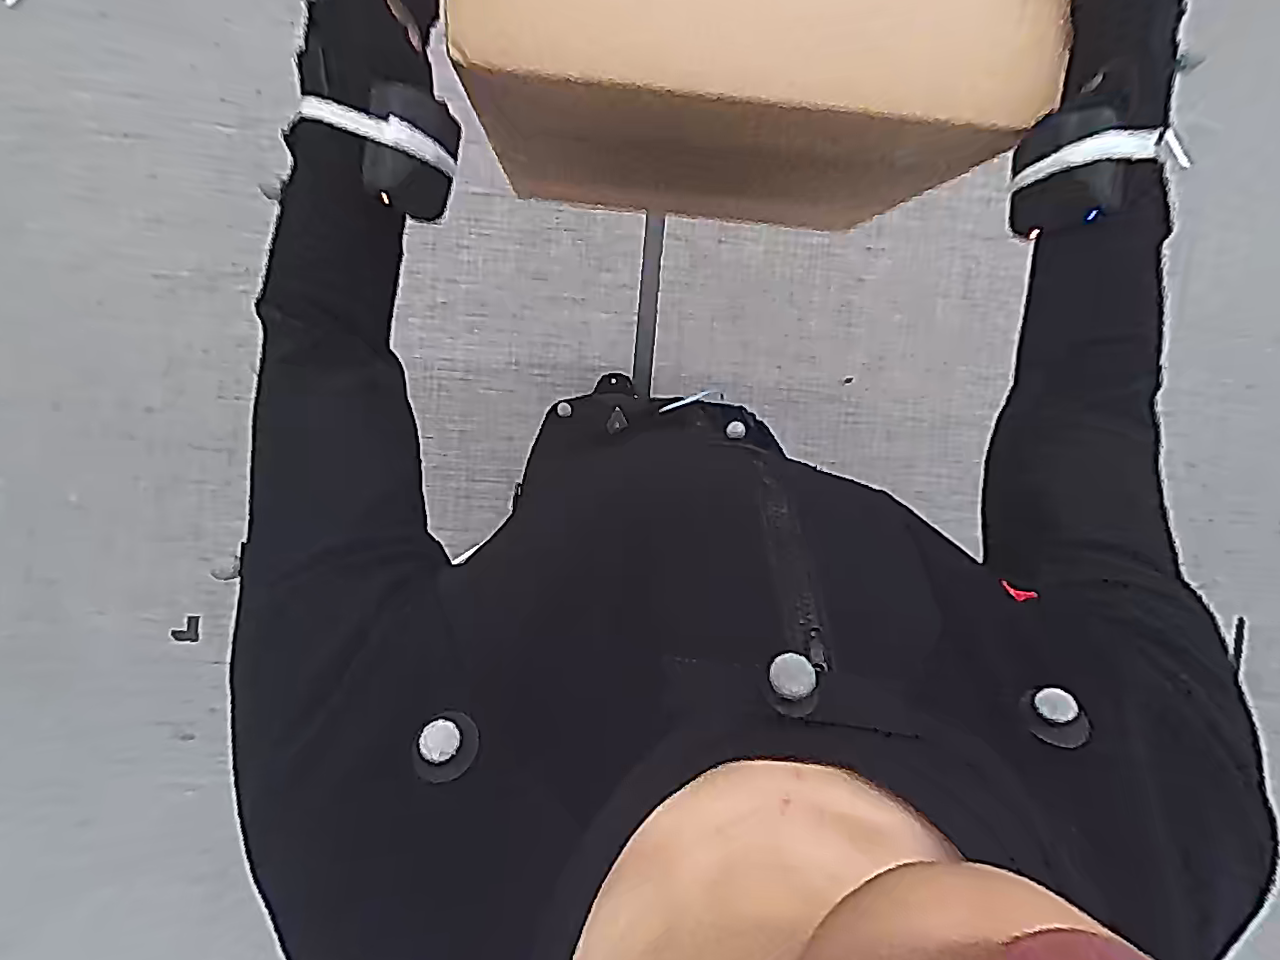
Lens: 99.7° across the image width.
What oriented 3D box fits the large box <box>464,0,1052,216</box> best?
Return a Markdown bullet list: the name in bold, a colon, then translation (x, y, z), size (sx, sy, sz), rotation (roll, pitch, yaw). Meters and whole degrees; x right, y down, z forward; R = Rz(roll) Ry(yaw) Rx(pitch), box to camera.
- **large box**: translation (0.077, -0.447, 0.478), size (0.408, 0.320, 0.320), rotation (3, 105, -6)
